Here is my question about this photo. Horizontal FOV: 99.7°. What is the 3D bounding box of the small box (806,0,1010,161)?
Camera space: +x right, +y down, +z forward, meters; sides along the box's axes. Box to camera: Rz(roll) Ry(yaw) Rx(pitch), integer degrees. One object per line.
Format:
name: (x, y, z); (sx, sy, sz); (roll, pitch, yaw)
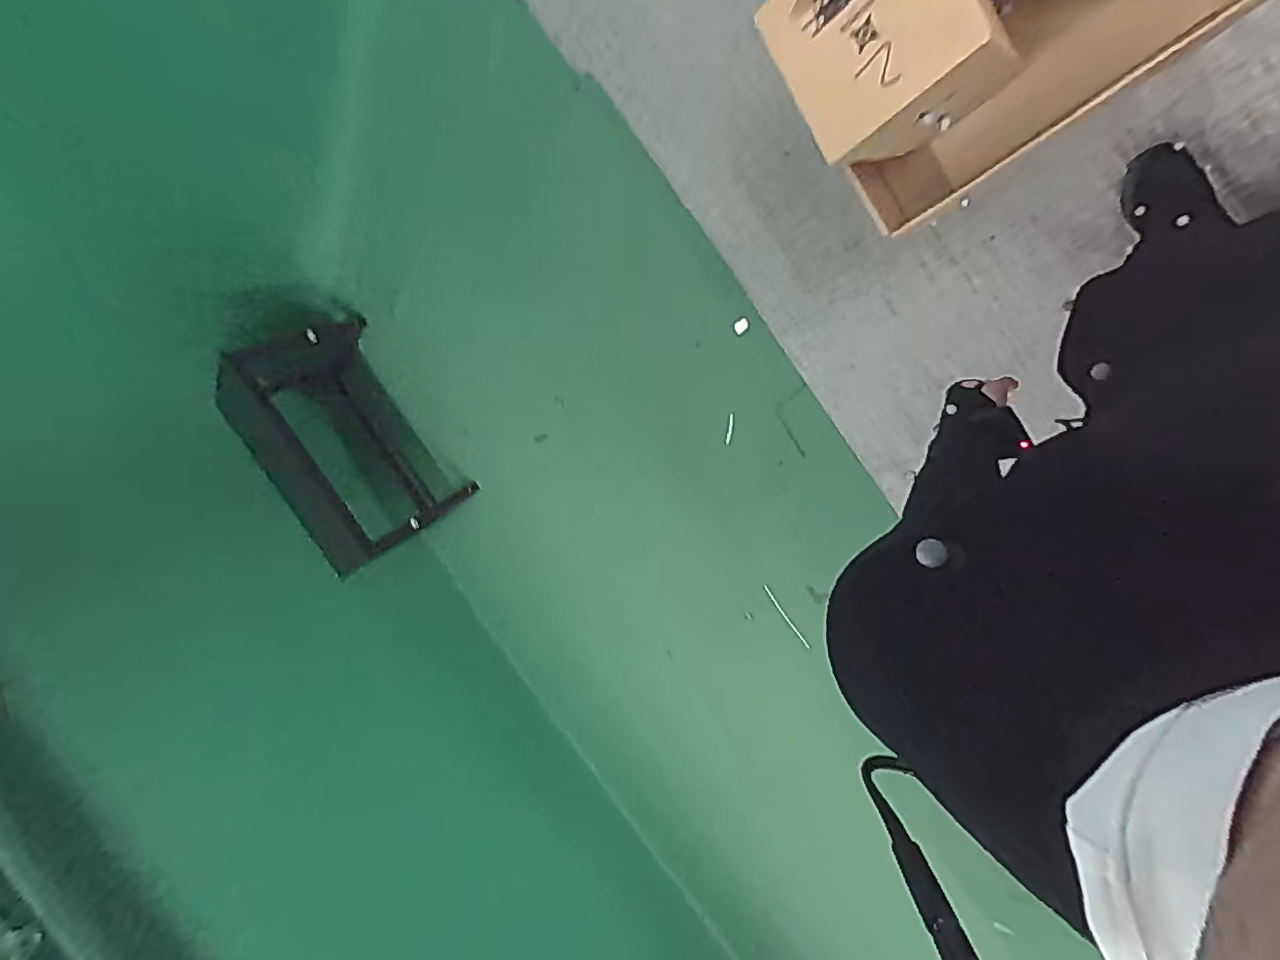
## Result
small box: (0.354, -0.556, 0.706); (0.168, 0.176, 0.179); (-26, 99, 45)
